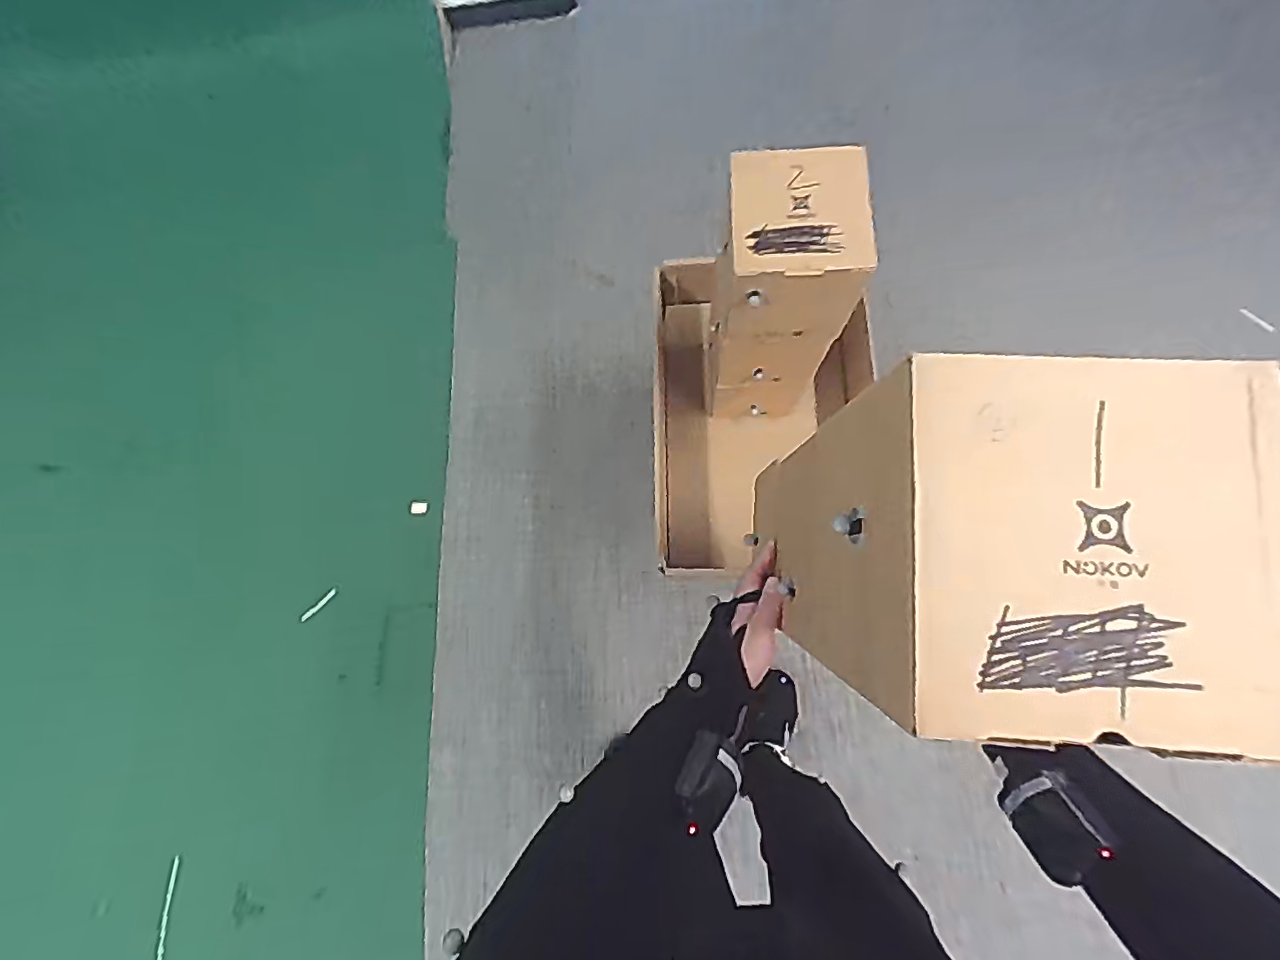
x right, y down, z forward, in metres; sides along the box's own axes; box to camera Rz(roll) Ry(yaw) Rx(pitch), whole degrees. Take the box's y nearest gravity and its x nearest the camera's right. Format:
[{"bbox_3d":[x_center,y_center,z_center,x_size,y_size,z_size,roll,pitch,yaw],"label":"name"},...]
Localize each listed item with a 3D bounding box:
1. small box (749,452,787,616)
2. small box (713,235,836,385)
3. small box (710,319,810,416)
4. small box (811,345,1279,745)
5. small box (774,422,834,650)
[{"bbox_3d":[0.227,0.069,0.650,0.168,0.176,0.179,4,83,4],"label":"small box"},{"bbox_3d":[0.210,-0.272,0.889,0.168,0.176,0.179,-1,77,4],"label":"small box"},{"bbox_3d":[0.223,-0.236,1.046,0.168,0.176,0.179,-1,76,5],"label":"small box"},{"bbox_3d":[0.207,0.033,0.325,0.168,0.176,0.179,2,83,3],"label":"small box"},{"bbox_3d":[0.220,0.054,0.487,0.168,0.176,0.179,3,83,4],"label":"small box"}]
